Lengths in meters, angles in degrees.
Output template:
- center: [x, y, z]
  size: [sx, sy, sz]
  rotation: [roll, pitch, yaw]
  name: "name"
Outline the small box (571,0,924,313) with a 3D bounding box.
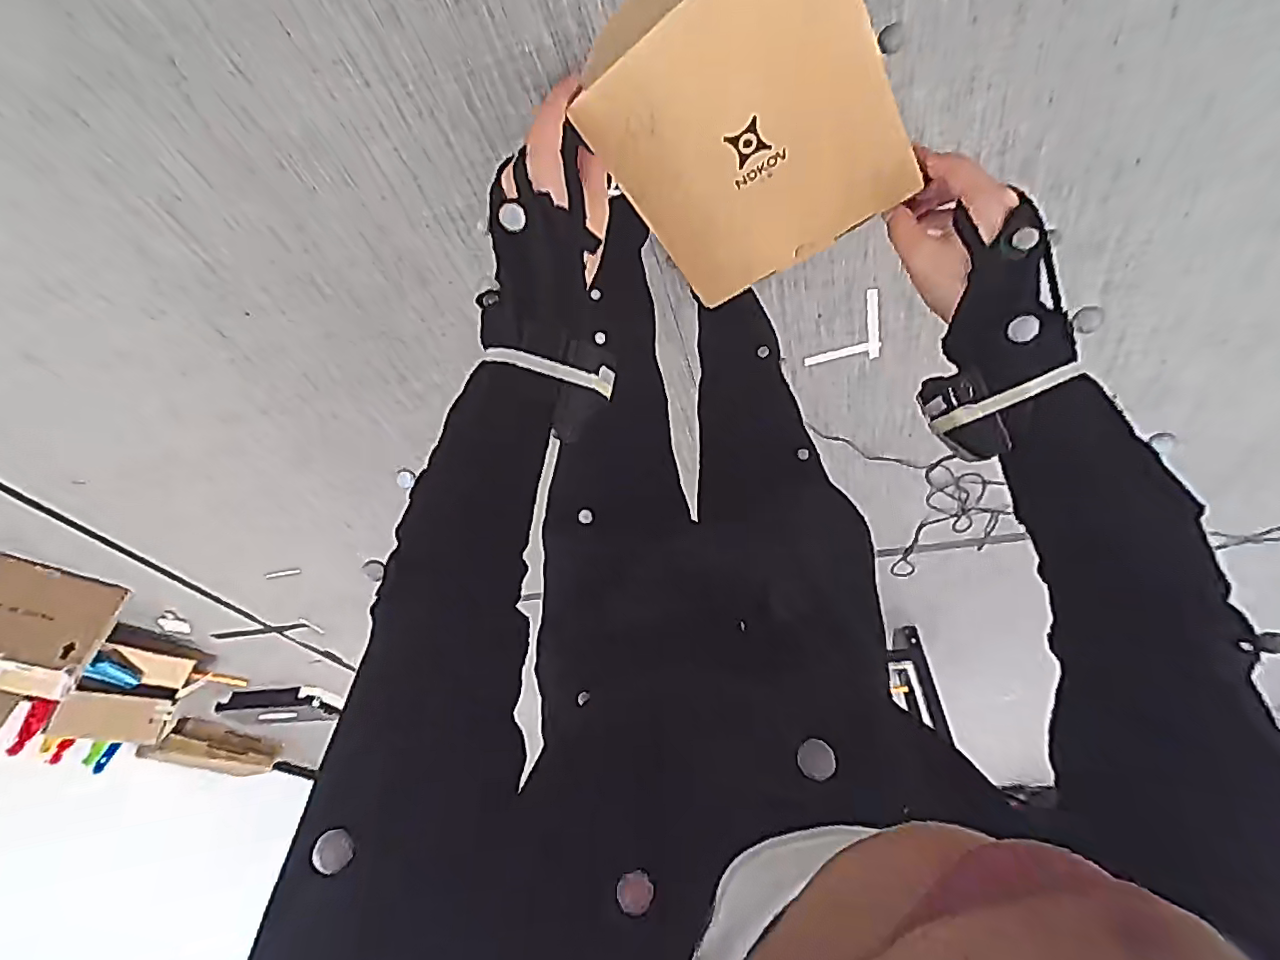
- center: [0.075, -0.266, 0.390]
  size: [0.168, 0.176, 0.179]
  rotation: [-22, 136, 30]
  name: "small box"
